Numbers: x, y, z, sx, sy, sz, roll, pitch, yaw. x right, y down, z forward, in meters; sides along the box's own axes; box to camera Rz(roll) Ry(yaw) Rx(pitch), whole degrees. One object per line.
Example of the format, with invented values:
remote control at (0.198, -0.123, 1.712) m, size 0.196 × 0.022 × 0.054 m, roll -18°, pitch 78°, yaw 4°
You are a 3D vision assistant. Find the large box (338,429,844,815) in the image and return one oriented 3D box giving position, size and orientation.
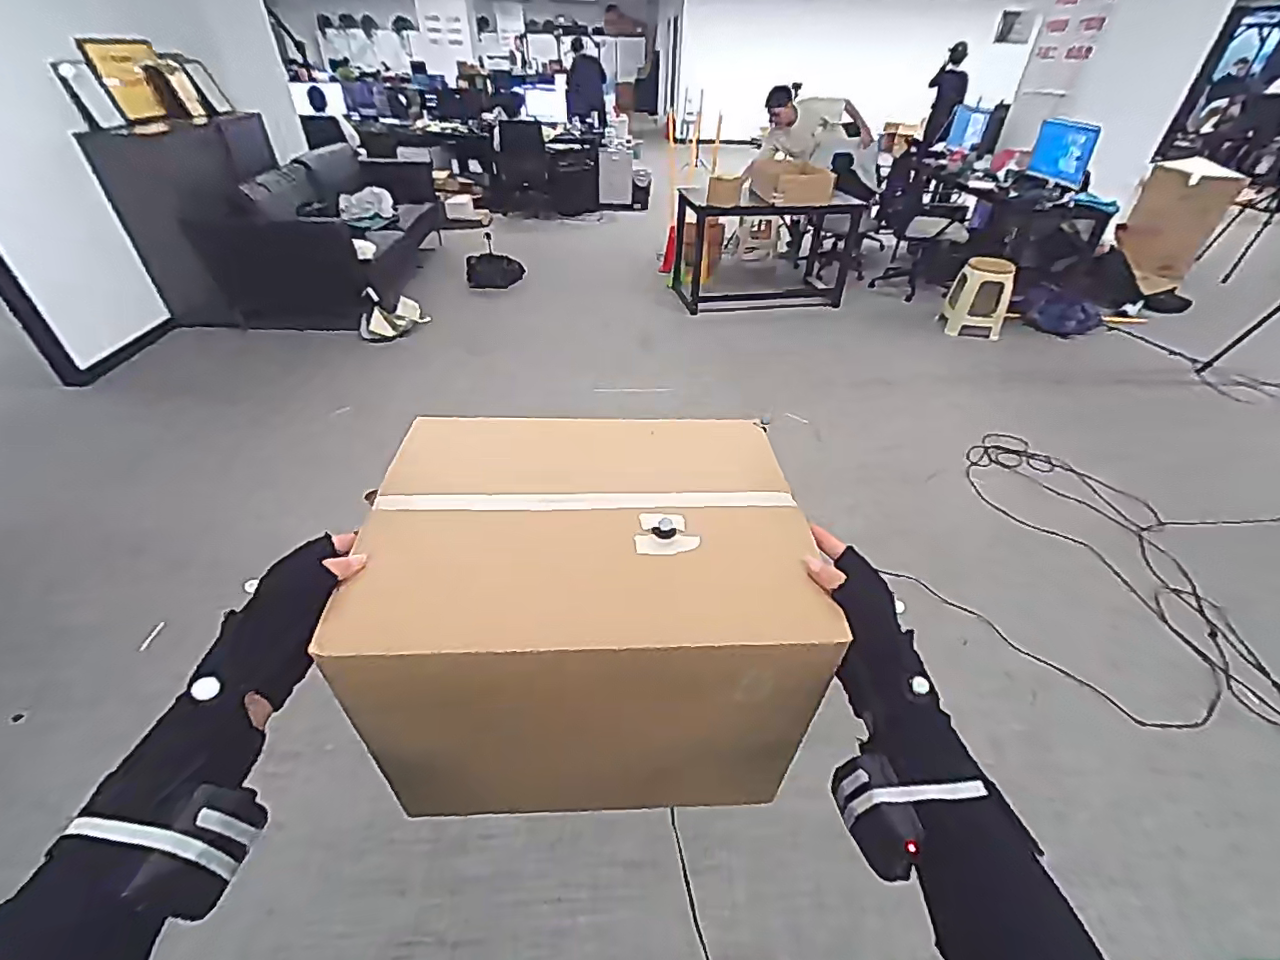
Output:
large box at (-0.051, 0.151, 0.625) m, size 0.408 × 0.320 × 0.320 m, roll 0°, pitch 39°, yaw -5°
